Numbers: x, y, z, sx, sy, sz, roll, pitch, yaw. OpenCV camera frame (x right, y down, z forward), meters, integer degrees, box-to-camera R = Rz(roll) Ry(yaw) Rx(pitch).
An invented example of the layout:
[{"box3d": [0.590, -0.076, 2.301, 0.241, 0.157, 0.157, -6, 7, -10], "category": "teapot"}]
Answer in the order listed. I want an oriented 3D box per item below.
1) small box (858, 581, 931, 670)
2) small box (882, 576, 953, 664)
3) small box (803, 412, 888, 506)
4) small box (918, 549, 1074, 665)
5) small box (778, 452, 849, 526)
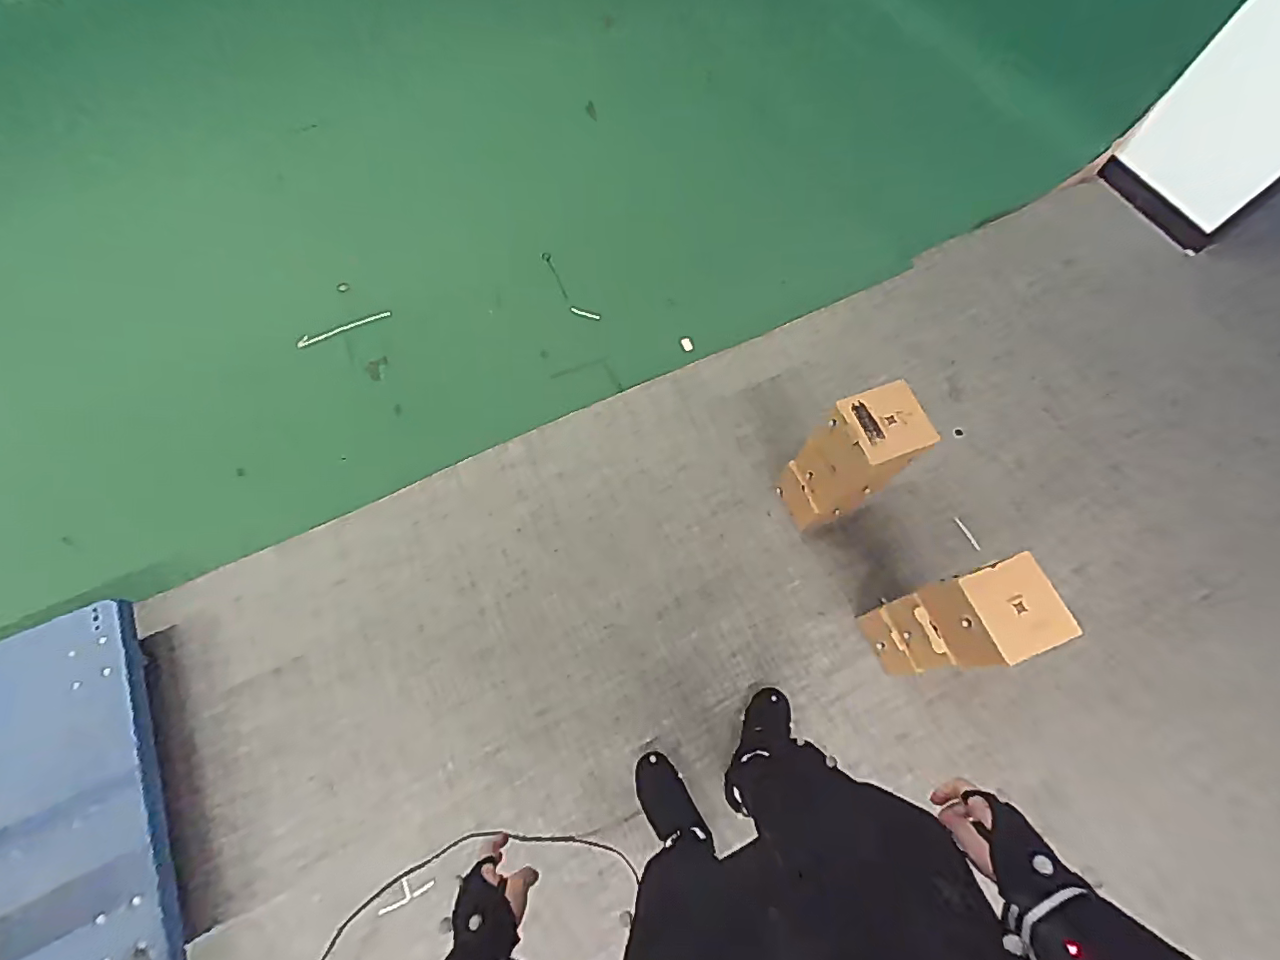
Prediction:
[{"box3d": [0.697, 0.385, 1.413, 0.179, 0.176, 0.168, -22, 70, -8], "category": "small box"}, {"box3d": [0.708, 0.320, 1.262, 0.179, 0.176, 0.168, -18, 69, -7], "category": "small box"}, {"box3d": [0.533, -0.051, 1.419, 0.168, 0.176, 0.179, 10, 68, 5], "category": "small box"}, {"box3d": [0.712, 0.266, 1.108, 0.168, 0.176, 0.179, -18, 70, -7], "category": "small box"}, {"box3d": [0.515, 0.015, 1.559, 0.179, 0.176, 0.168, -19, 70, -9], "category": "small box"}]
